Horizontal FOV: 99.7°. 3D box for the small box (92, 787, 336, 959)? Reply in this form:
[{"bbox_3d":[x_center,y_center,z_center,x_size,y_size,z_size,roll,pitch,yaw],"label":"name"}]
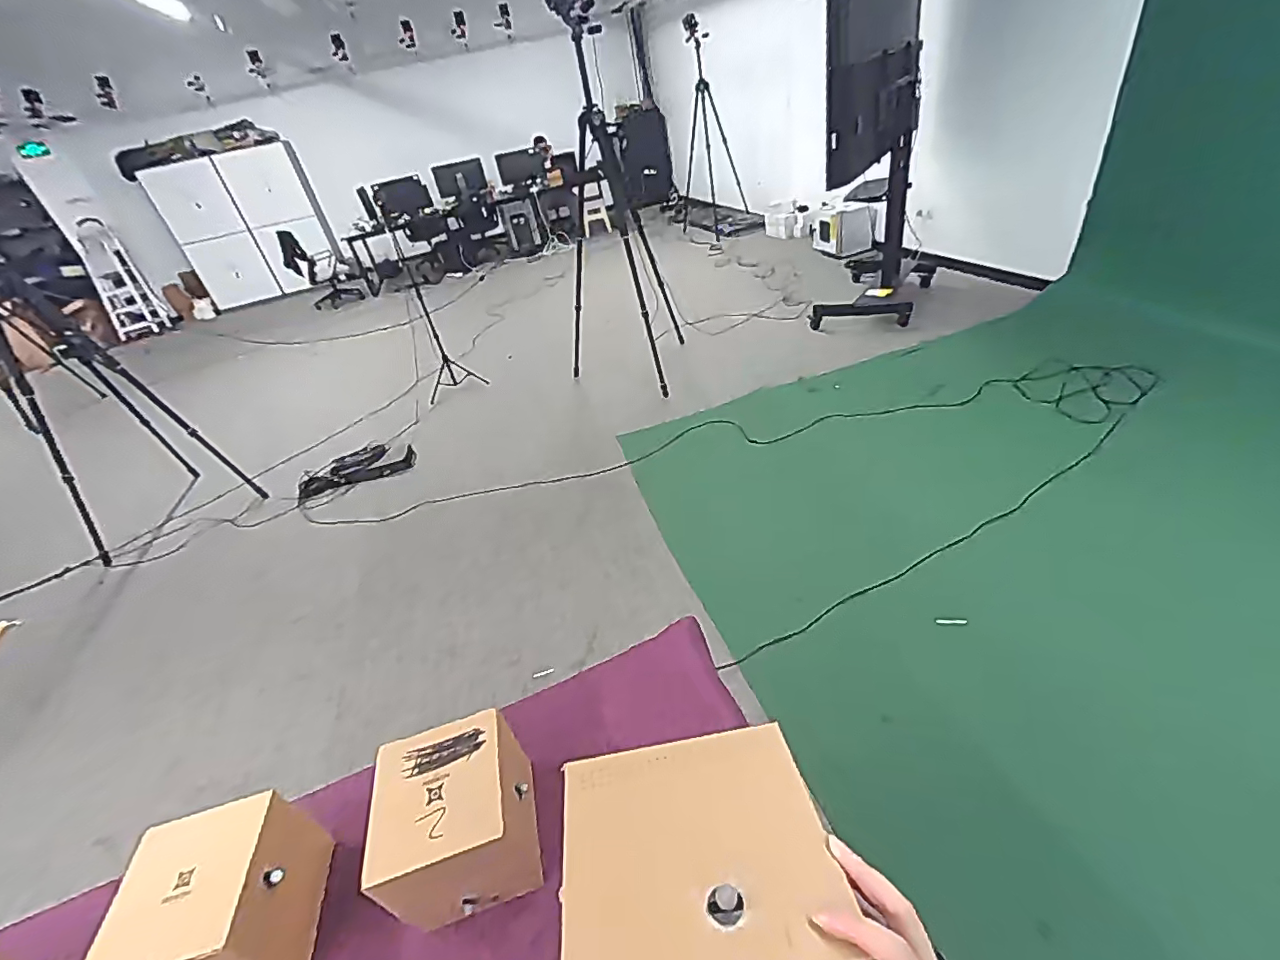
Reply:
[{"bbox_3d":[-0.527,0.544,0.699,0.168,0.176,0.179,-17,37,-4],"label":"small box"}]

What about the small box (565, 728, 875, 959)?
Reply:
[{"bbox_3d":[0.044,0.310,0.392,0.179,0.168,0.176,-10,22,-2],"label":"small box"}]
